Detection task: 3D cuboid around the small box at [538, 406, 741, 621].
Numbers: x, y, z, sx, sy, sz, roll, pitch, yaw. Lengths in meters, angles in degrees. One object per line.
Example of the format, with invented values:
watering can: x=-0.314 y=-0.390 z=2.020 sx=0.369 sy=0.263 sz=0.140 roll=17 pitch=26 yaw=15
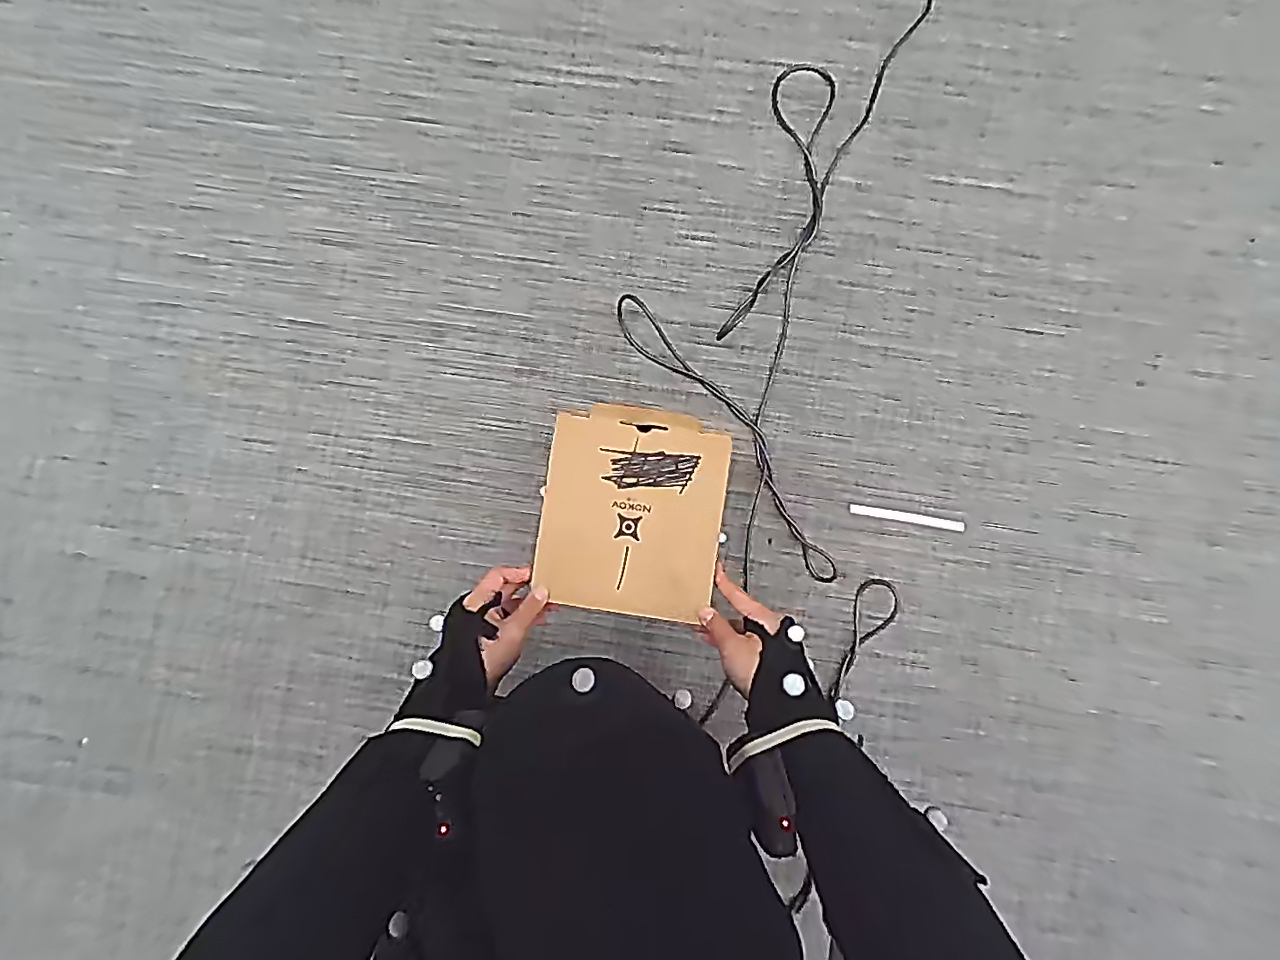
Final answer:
small box: x=0.002 y=0.034 z=0.570 sx=0.168 sy=0.176 sz=0.179 roll=8 pitch=87 yaw=2
